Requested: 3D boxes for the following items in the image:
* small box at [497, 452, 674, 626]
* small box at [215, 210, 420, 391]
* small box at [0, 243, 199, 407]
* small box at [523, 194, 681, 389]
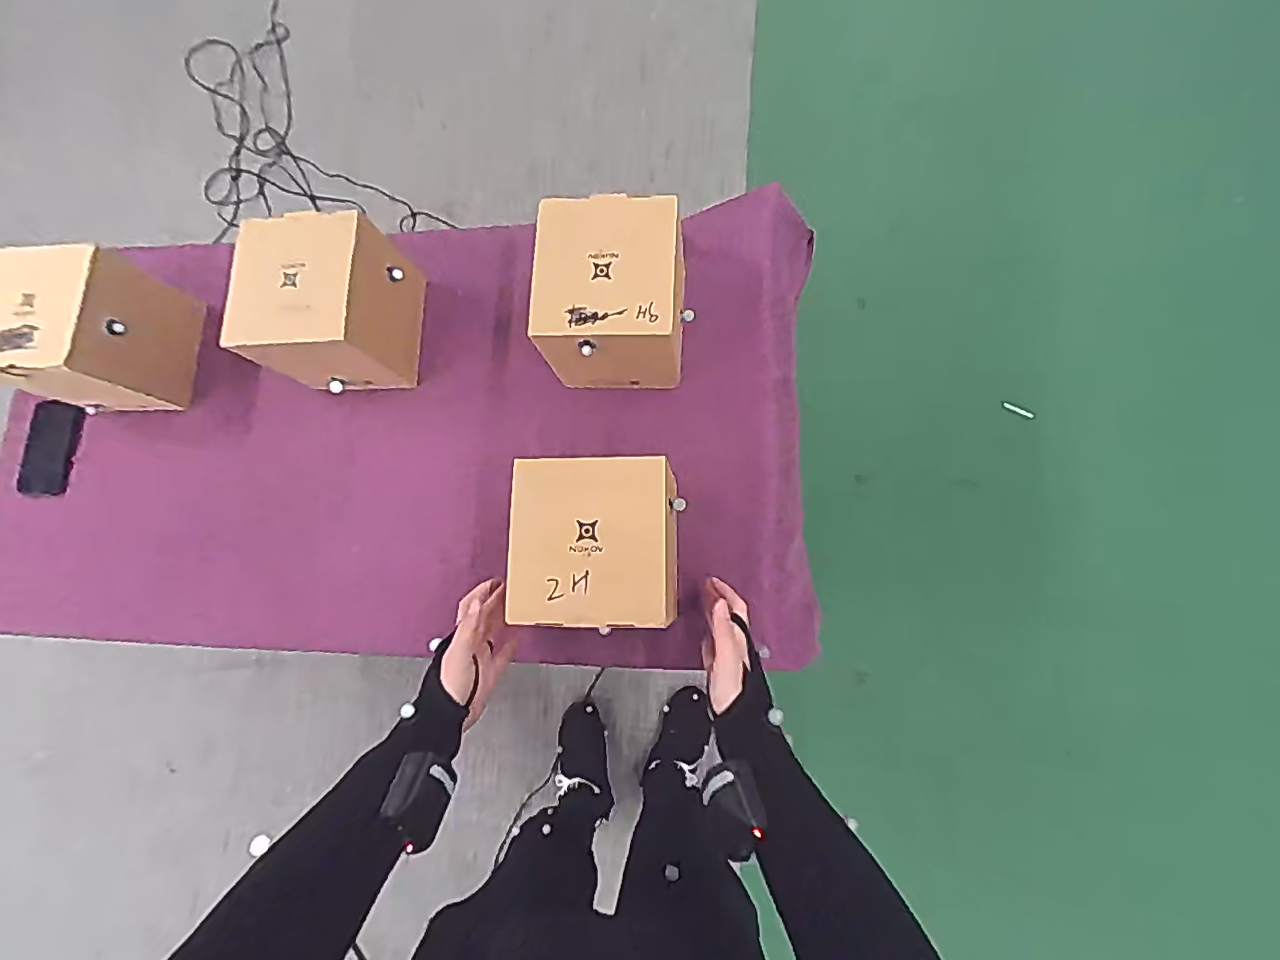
[{"bbox_3d":[-0.050,0.073,0.625,0.168,0.176,0.179,-1,78,8],"label":"small box"},{"bbox_3d":[-0.422,-0.234,0.738,0.168,0.176,0.179,0,79,8],"label":"small box"},{"bbox_3d":[-0.785,-0.208,0.775,0.168,0.176,0.179,0,78,6],"label":"small box"},{"bbox_3d":[-0.036,-0.230,0.690,0.168,0.176,0.179,1,78,8],"label":"small box"}]
